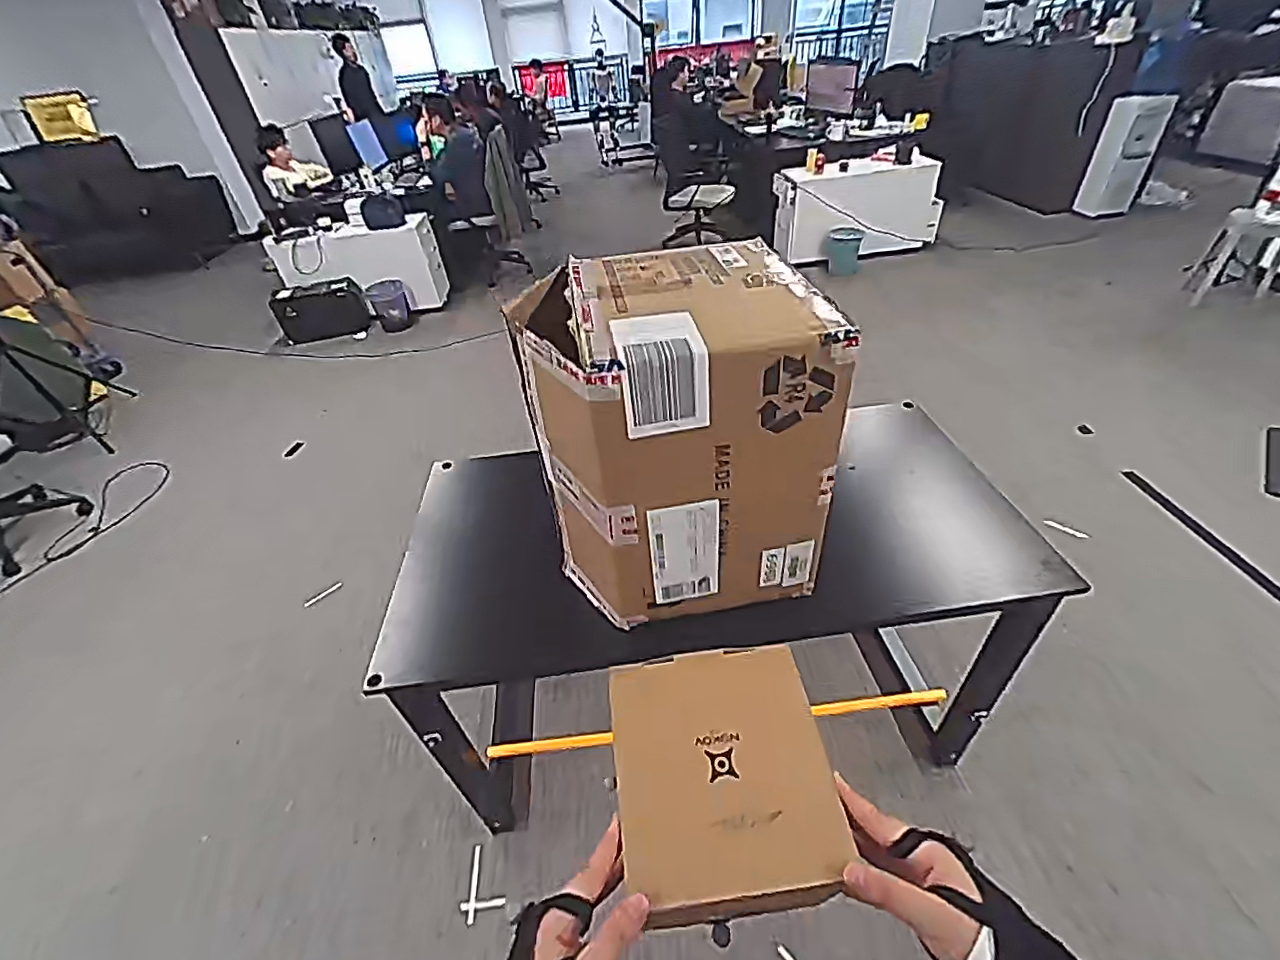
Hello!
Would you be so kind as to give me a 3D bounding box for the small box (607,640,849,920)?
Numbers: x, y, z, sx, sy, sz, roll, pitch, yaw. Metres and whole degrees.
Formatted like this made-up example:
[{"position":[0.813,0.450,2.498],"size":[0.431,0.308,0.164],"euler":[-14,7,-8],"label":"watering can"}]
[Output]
[{"position":[0.060,0.270,0.488],"size":[0.168,0.176,0.179],"euler":[-6,47,-2],"label":"small box"}]
